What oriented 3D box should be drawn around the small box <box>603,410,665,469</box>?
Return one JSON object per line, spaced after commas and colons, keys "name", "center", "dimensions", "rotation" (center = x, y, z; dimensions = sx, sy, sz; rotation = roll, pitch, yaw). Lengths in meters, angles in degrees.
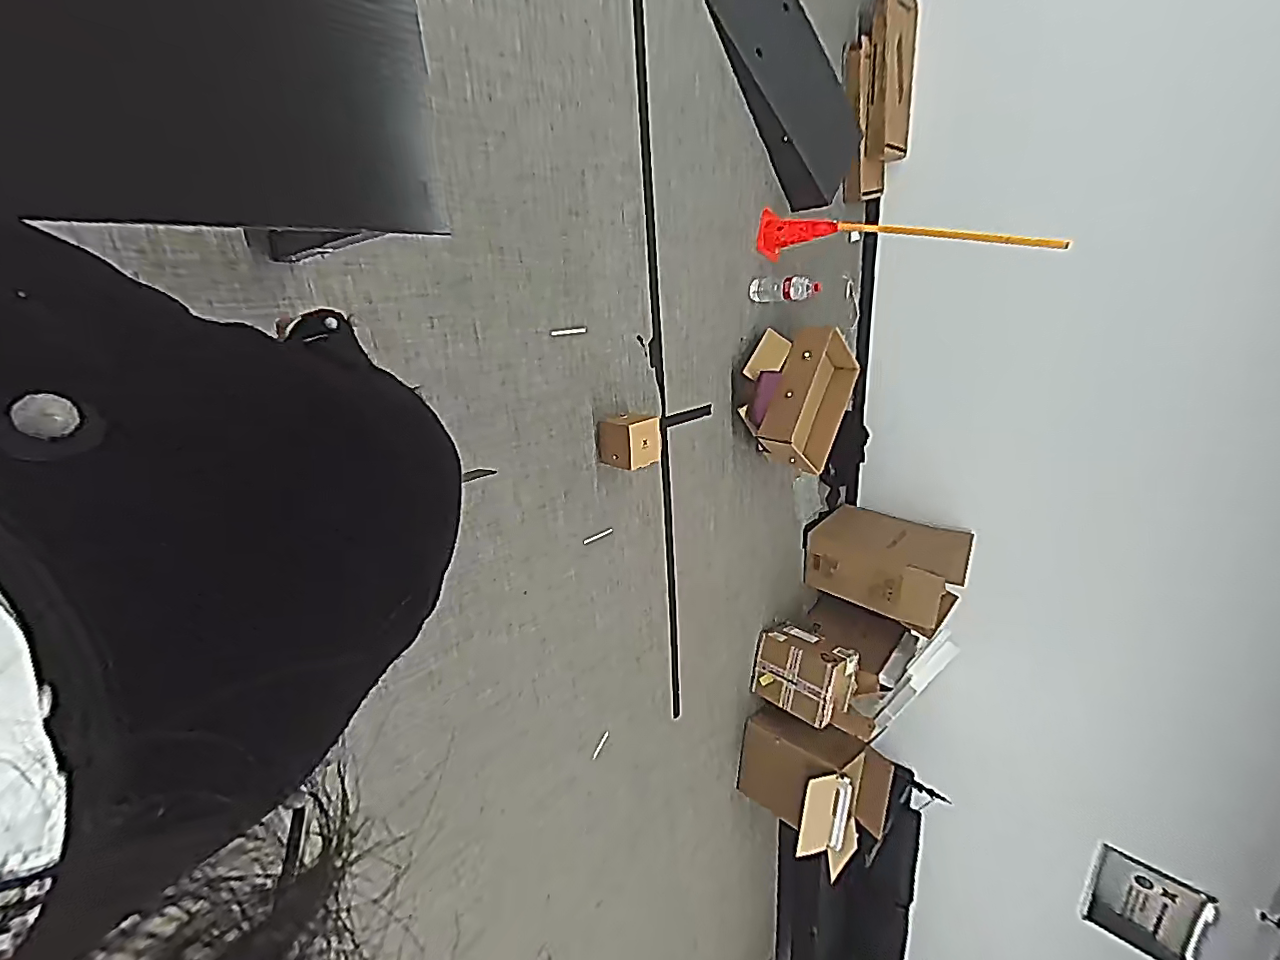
{"name": "small box", "center": [-0.022, -0.159, 2.058], "dimensions": [0.168, 0.176, 0.179], "rotation": [-23, 116, -41]}
